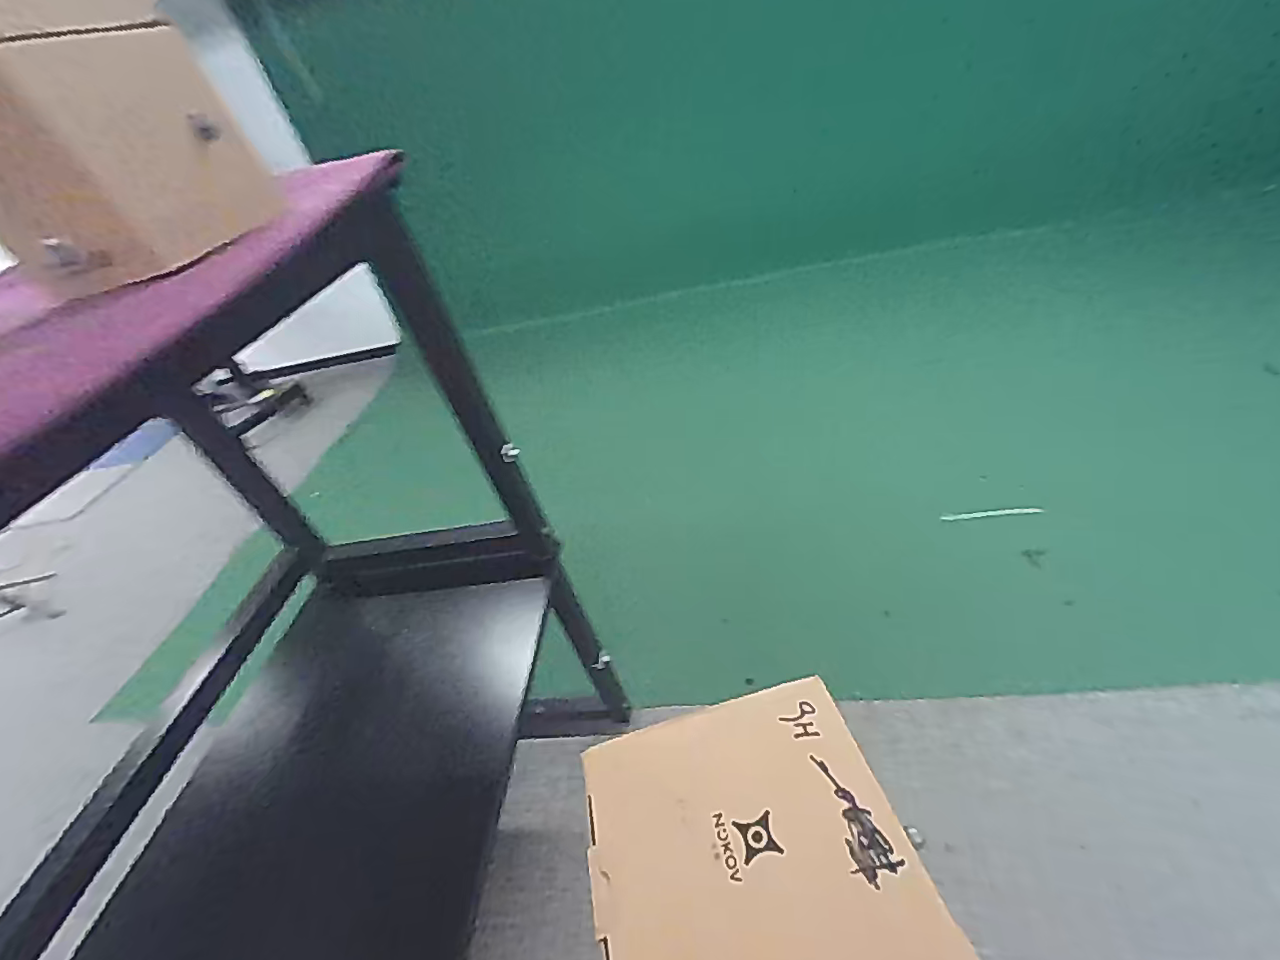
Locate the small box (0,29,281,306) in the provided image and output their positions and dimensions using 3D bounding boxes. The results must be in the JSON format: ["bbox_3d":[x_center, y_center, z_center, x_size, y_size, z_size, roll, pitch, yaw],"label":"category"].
[{"bbox_3d":[-0.491,-0.290,0.513,0.168,0.176,0.179,-7,42,17],"label":"small box"}]
